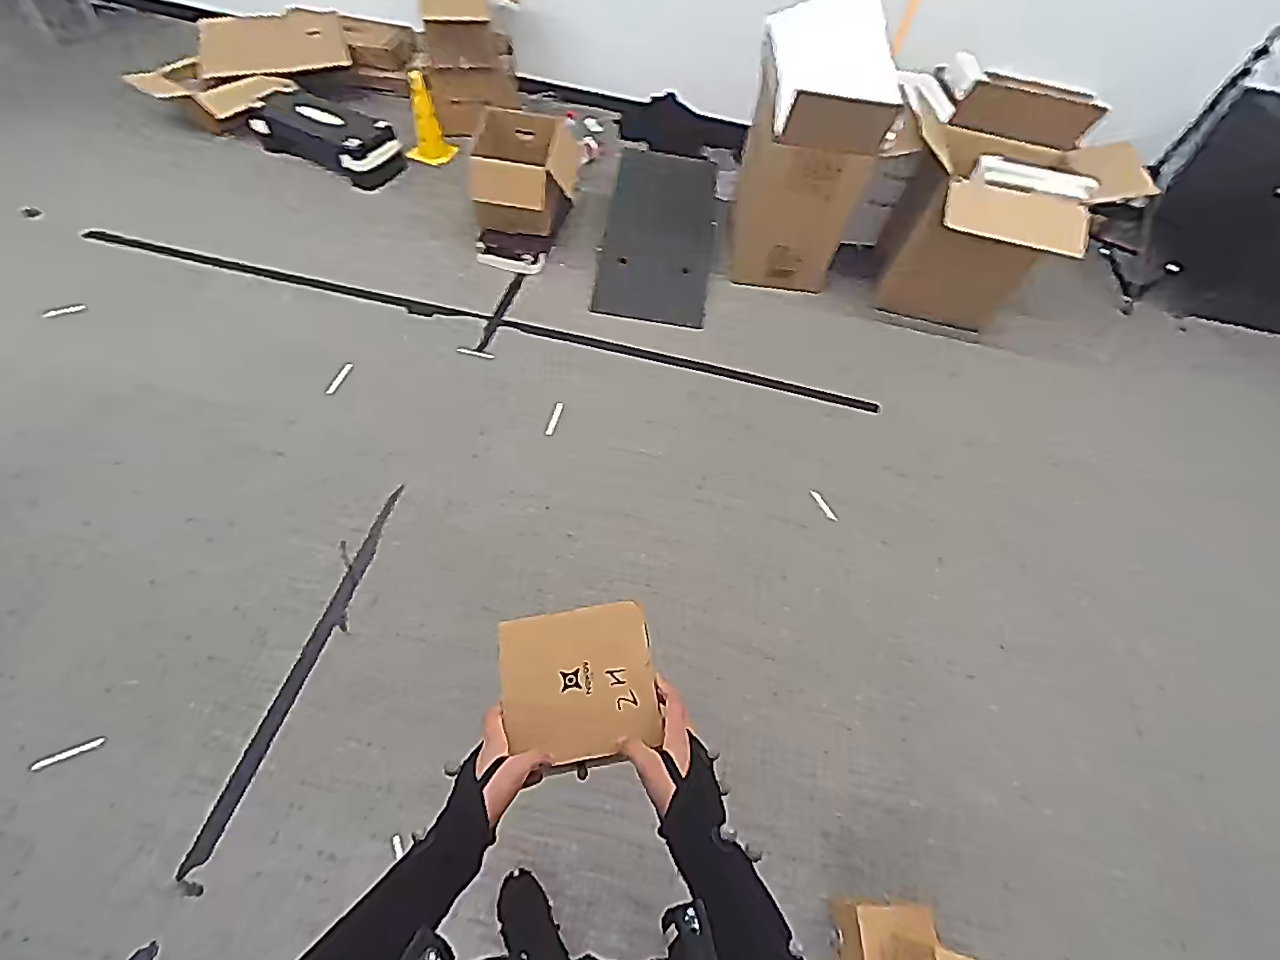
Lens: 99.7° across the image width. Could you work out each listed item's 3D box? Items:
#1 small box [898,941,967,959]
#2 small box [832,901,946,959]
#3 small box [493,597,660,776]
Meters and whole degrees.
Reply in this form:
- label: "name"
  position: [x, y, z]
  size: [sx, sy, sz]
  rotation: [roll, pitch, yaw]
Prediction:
- label: "small box"
  position: [0.615, 1.014, 1.027]
  size: [0.179, 0.176, 0.168]
  rotation: [17, 56, 4]
- label: "small box"
  position: [0.552, 1.043, 1.195]
  size: [0.179, 0.176, 0.168]
  rotation: [4, 57, -4]
- label: "small box"
  position: [-0.073, 0.261, 0.671]
  size: [0.179, 0.176, 0.168]
  rotation: [-9, 60, -4]
